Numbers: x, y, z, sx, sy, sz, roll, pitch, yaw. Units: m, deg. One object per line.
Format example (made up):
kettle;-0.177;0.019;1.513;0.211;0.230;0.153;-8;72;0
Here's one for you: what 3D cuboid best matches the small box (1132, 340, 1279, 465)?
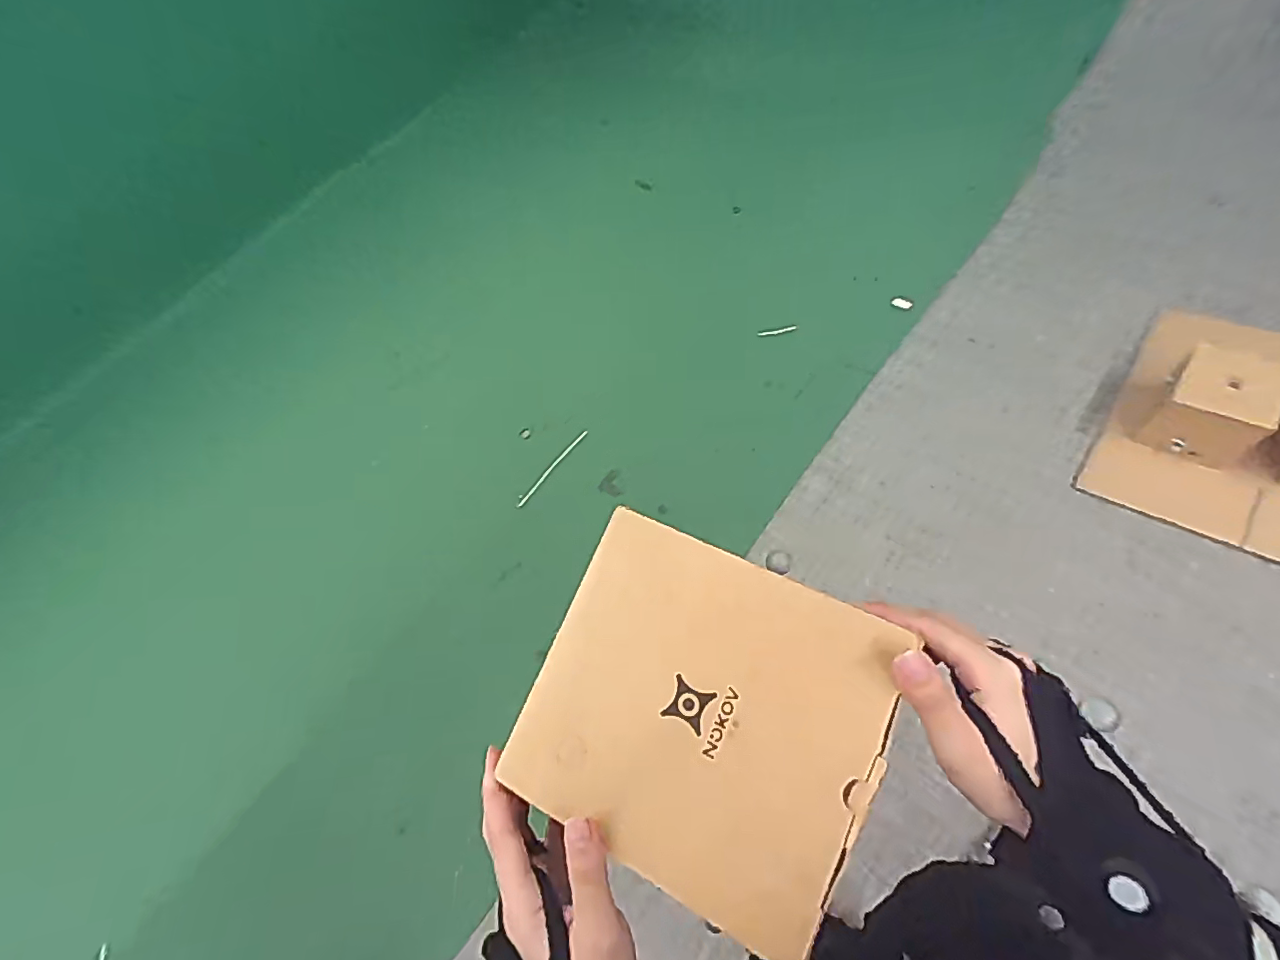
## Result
small box;1.234;-0.166;1.182;0.168;0.176;0.179;29;74;29
